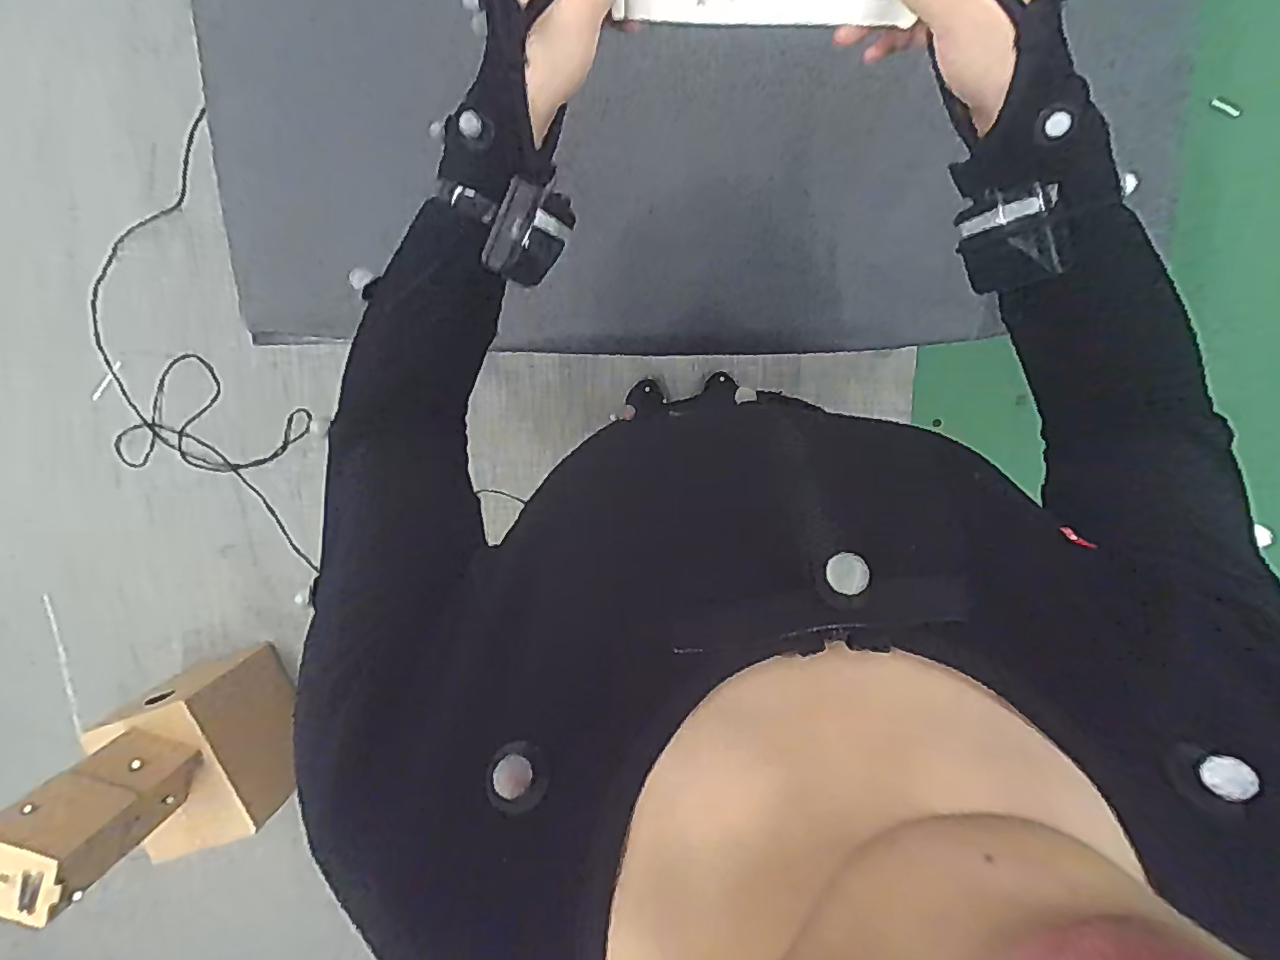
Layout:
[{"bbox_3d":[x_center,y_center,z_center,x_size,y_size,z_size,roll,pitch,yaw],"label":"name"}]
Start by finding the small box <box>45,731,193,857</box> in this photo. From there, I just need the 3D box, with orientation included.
[{"bbox_3d":[-1.205,0.724,1.265,0.179,0.176,0.168,20,99,-4],"label":"small box"}]
